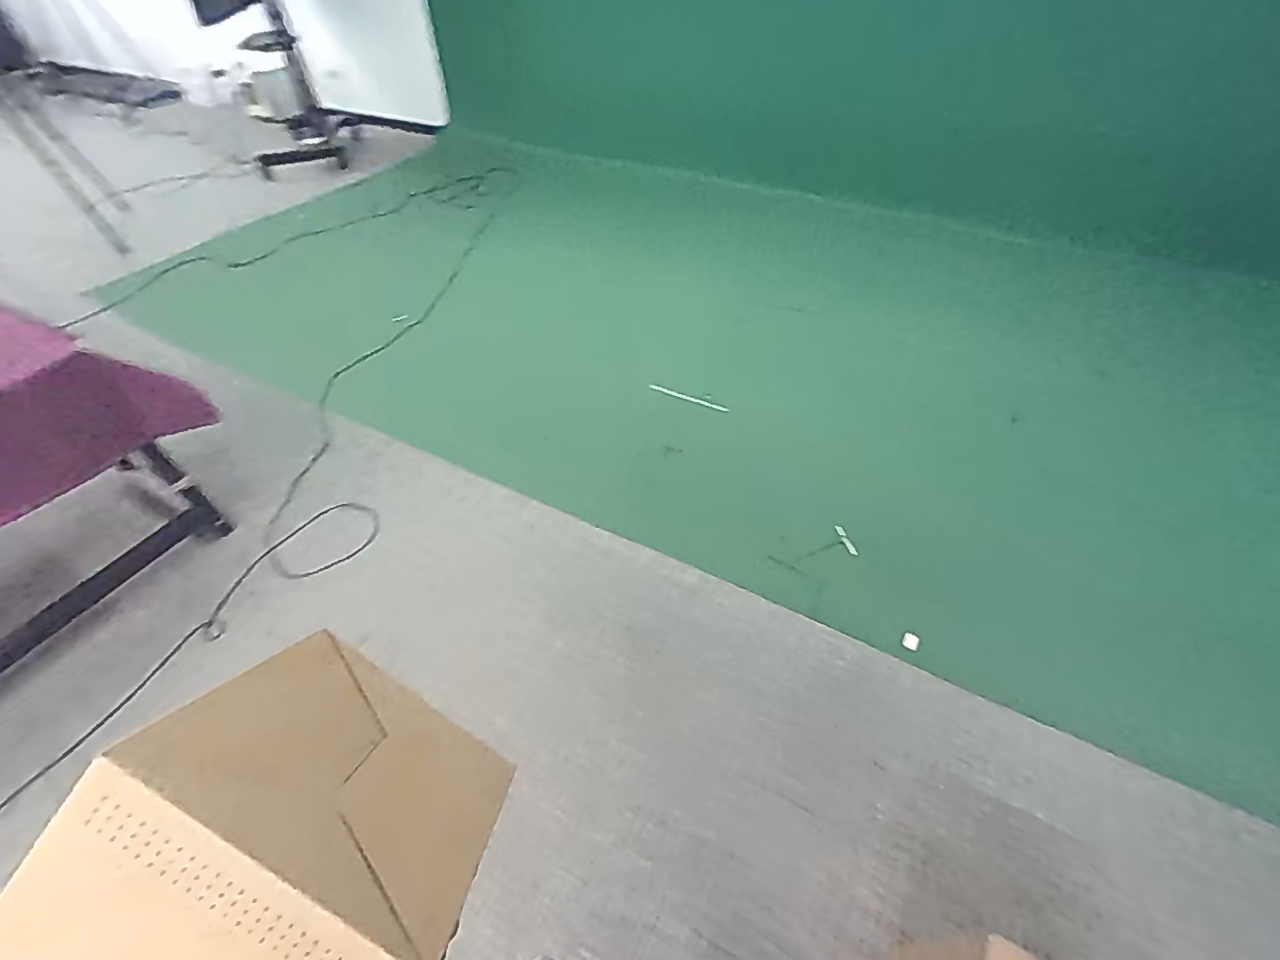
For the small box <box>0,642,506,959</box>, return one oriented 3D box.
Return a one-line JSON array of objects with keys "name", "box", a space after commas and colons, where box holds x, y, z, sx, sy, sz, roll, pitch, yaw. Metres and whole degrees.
[{"name": "small box", "box": [-0.210, 0.228, 0.319, 0.179, 0.168, 0.176, 36, 93, -3]}]
